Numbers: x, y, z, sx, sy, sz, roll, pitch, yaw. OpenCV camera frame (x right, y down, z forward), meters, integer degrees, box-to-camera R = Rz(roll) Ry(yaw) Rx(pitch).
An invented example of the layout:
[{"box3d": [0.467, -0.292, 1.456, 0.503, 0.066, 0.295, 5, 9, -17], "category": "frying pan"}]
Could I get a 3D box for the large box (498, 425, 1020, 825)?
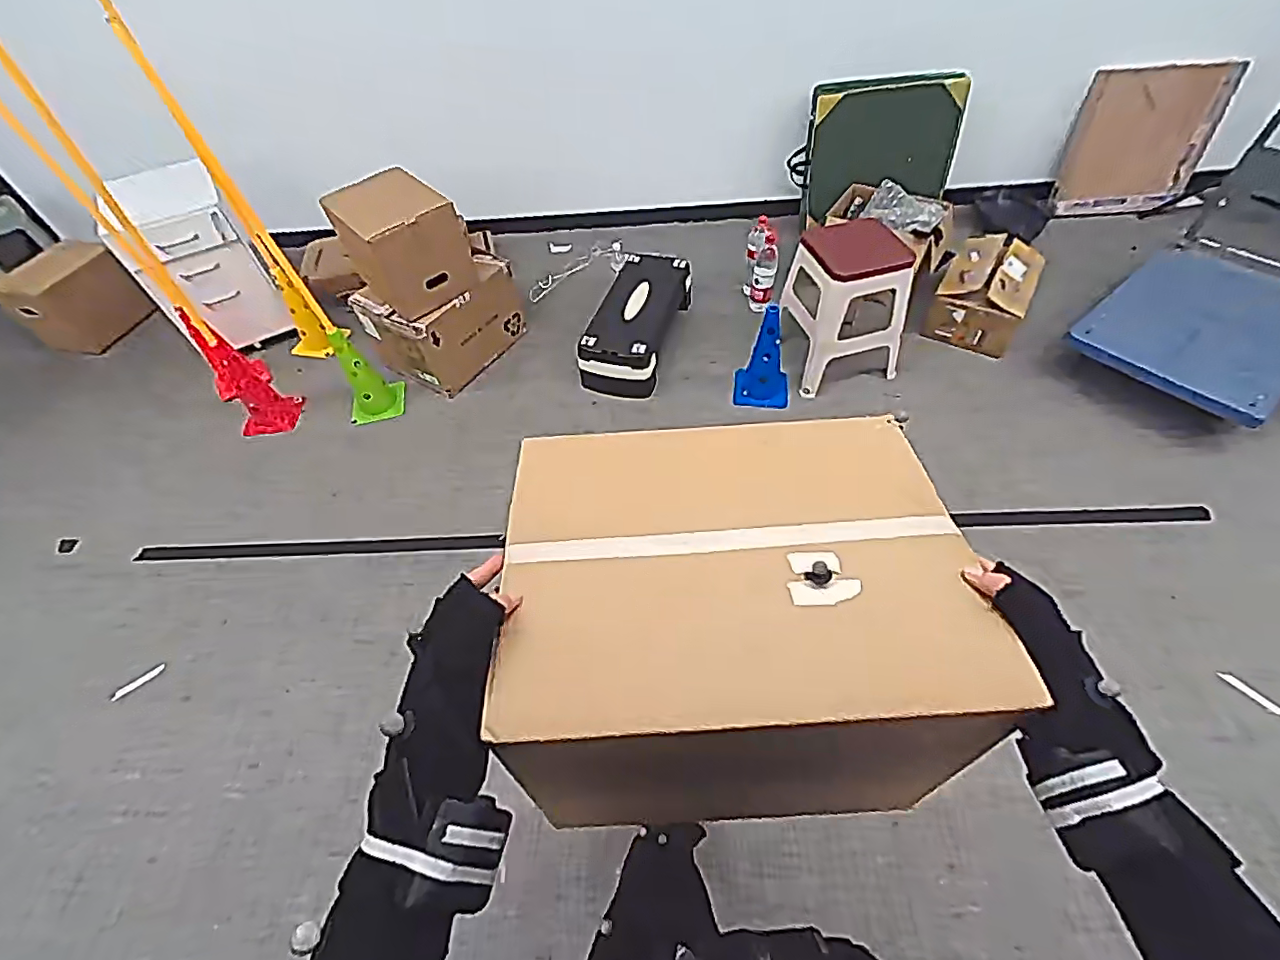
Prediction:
[{"box3d": [0.086, 0.164, 0.610, 0.408, 0.320, 0.320, -4, 47, 0], "category": "large box"}]
